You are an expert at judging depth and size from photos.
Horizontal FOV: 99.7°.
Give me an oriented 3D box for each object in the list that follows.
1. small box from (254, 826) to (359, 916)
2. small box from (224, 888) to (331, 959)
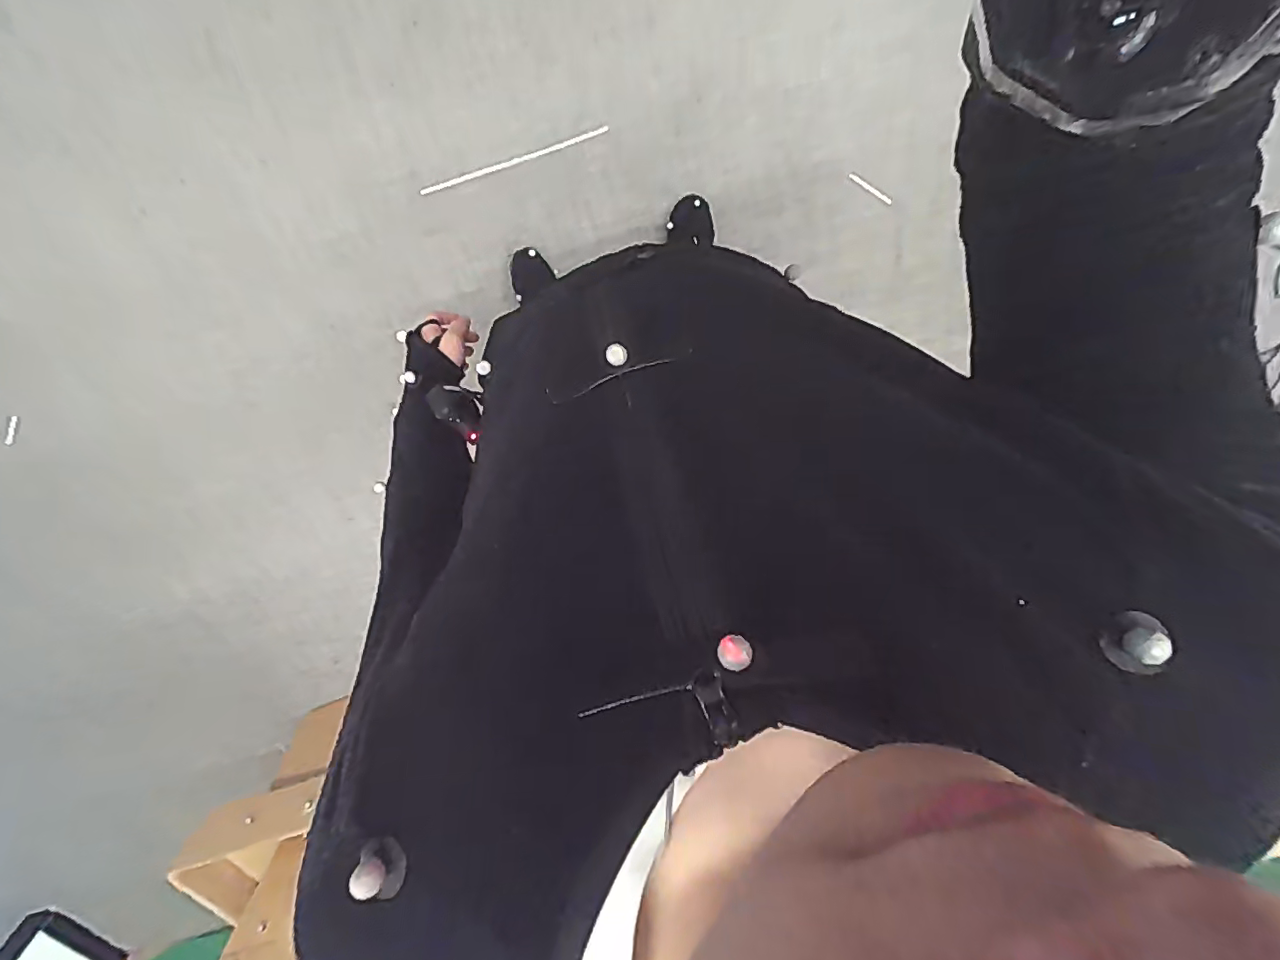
[{"bbox_3d":[-0.982,1.178,1.614,0.168,0.176,0.179,-20,115,6],"label":"small box"},{"bbox_3d":[-0.978,1.250,1.466,0.179,0.176,0.168,-19,115,6],"label":"small box"}]
